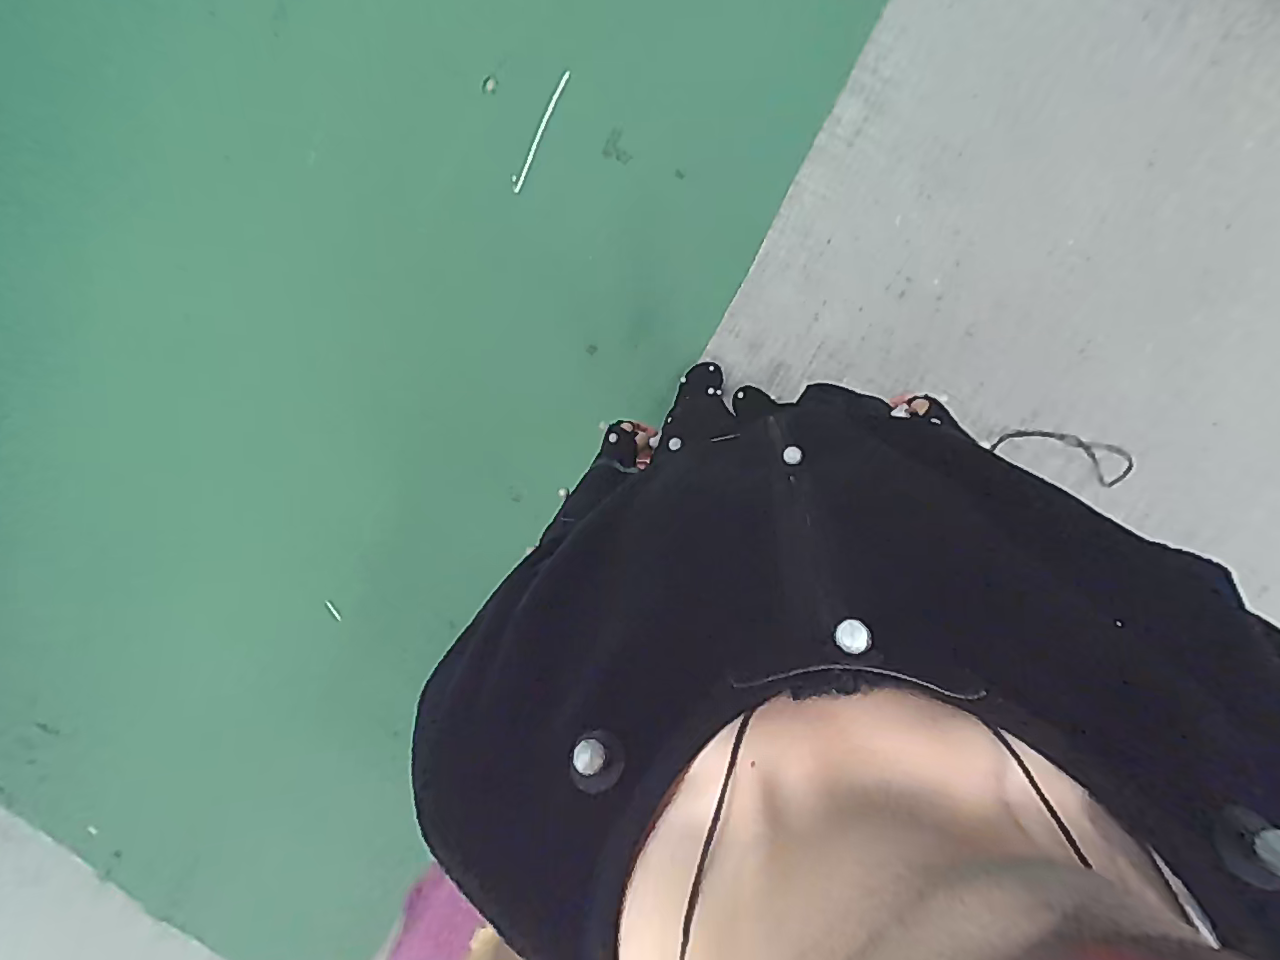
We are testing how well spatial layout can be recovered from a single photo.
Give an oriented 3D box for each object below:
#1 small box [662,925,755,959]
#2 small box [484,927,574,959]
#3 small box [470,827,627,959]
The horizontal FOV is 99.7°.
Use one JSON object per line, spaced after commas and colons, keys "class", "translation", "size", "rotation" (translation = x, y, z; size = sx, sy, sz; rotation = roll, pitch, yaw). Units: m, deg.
{"class": "small box", "translation": [0.102, 0.873, 0.853], "size": [0.168, 0.176, 0.179], "rotation": [24, 105, 5]}
{"class": "small box", "translation": [-0.165, 0.747, 0.709], "size": [0.179, 0.176, 0.168], "rotation": [32, 104, 2]}
{"class": "small box", "translation": [-0.142, 0.705, 0.866], "size": [0.179, 0.176, 0.168], "rotation": [26, 104, 5]}
